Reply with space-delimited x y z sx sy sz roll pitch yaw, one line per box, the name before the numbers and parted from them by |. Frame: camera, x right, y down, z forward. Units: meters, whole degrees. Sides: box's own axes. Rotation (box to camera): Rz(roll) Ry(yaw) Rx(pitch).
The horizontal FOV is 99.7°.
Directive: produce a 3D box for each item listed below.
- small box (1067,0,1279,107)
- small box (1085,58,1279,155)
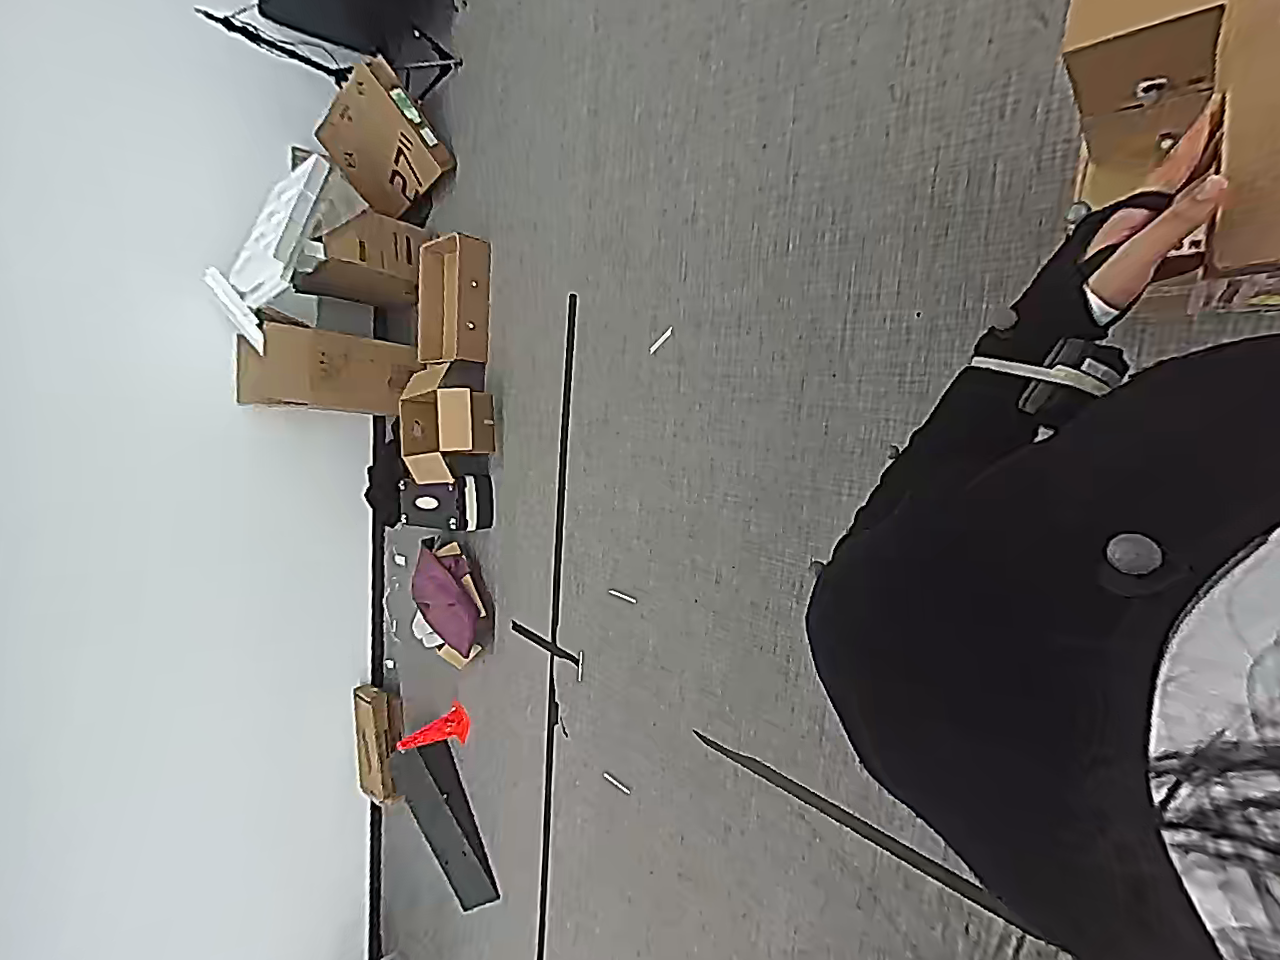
small box | 0.560 -0.525 0.545 0.168 0.176 0.179 13 103 44
small box | 0.673 -0.537 0.662 0.168 0.176 0.179 12 103 44
